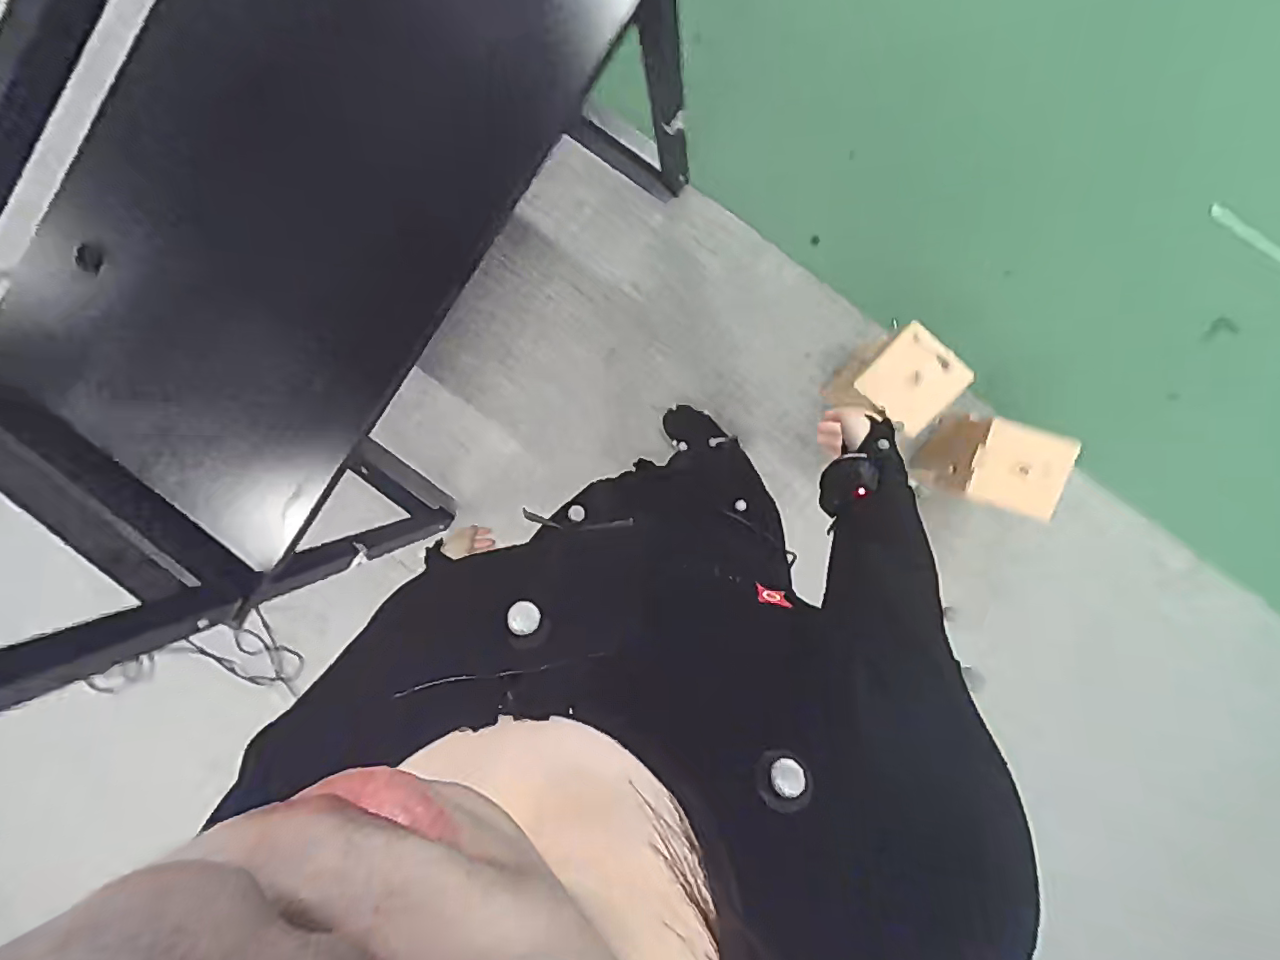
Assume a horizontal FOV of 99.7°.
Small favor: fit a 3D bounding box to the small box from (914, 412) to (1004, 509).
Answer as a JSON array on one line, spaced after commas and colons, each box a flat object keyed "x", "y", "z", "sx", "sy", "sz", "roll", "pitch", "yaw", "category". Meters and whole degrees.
[{"x": 0.805, "y": -0.050, "z": 1.310, "sx": 0.179, "sy": 0.176, "sz": 0.168, "roll": 30, "pitch": 99, "yaw": 2, "category": "small box"}]

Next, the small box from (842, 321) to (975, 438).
[{"x": 0.558, "y": -0.205, "z": 1.159, "sx": 0.168, "sy": 0.176, "sz": 0.179, "roll": 43, "pitch": 99, "yaw": 2, "category": "small box"}]

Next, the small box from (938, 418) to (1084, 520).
[{"x": 0.774, "y": -0.029, "z": 1.152, "sx": 0.179, "sy": 0.176, "sz": 0.168, "roll": 17, "pitch": 99, "yaw": 4, "category": "small box"}]
